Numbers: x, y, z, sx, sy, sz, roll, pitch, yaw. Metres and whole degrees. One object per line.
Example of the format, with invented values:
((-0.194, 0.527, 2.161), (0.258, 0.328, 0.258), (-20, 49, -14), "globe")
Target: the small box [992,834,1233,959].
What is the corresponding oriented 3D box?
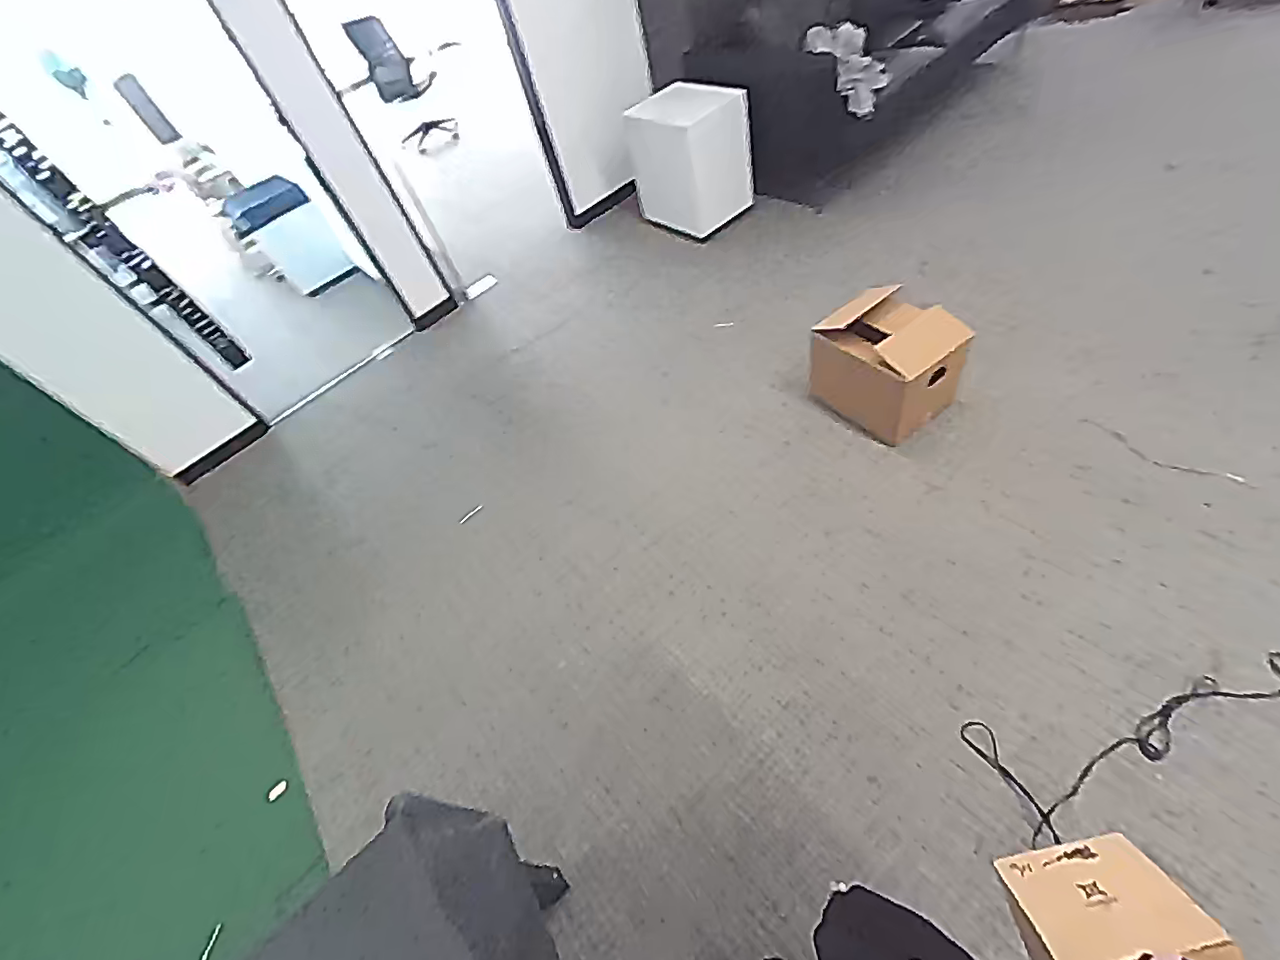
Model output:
((0.568, 0.570, 0.634), (0.168, 0.179, 0.176), (-22, 85, 8), "small box")
